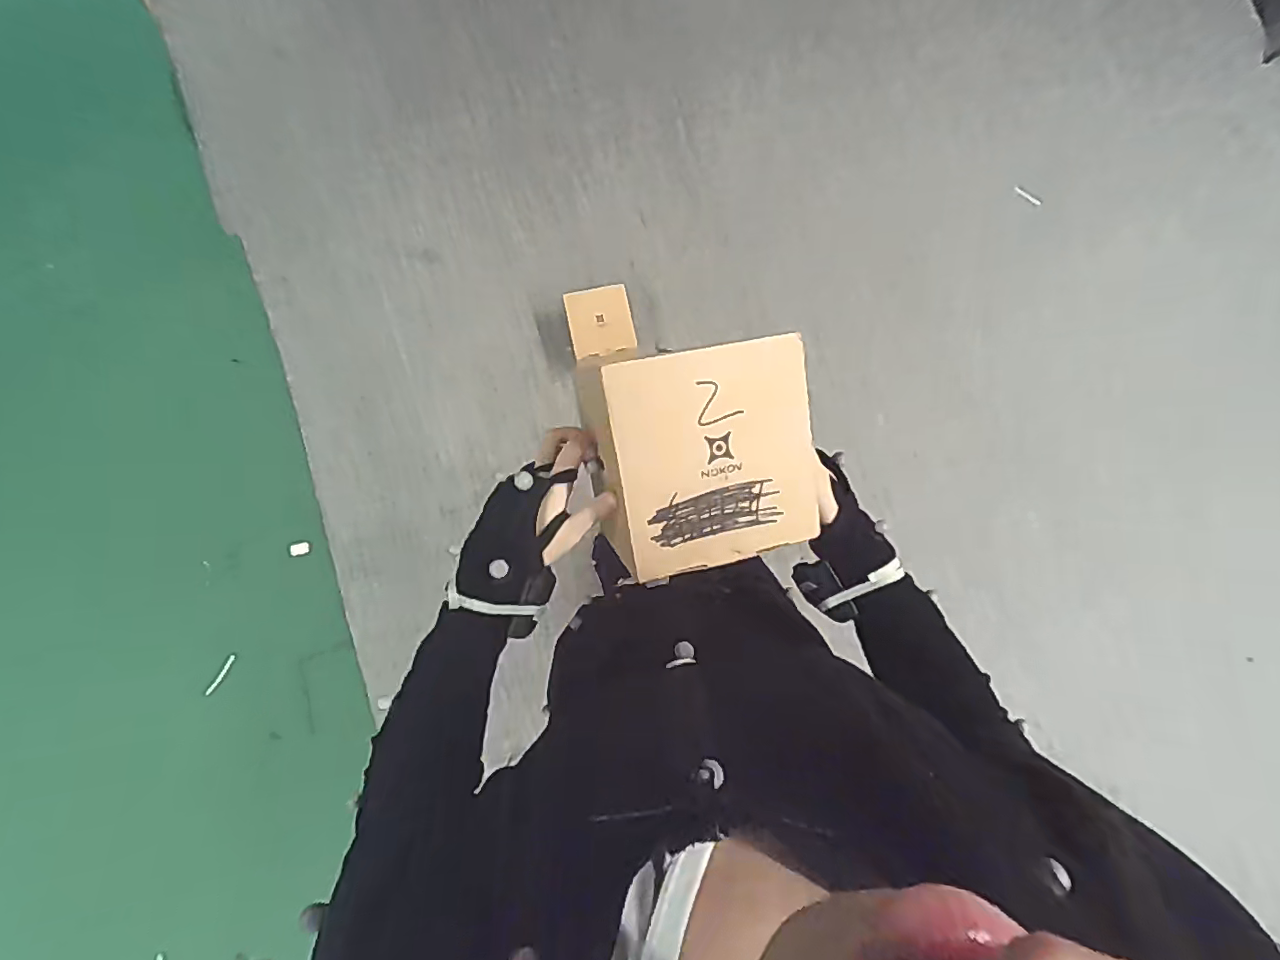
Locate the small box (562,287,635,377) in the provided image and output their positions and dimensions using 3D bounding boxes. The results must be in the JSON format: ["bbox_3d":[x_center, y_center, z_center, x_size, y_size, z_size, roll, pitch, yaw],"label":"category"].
[{"bbox_3d":[-0.116,-0.399,1.478,0.168,0.176,0.179,-12,86,-6],"label":"small box"}]
